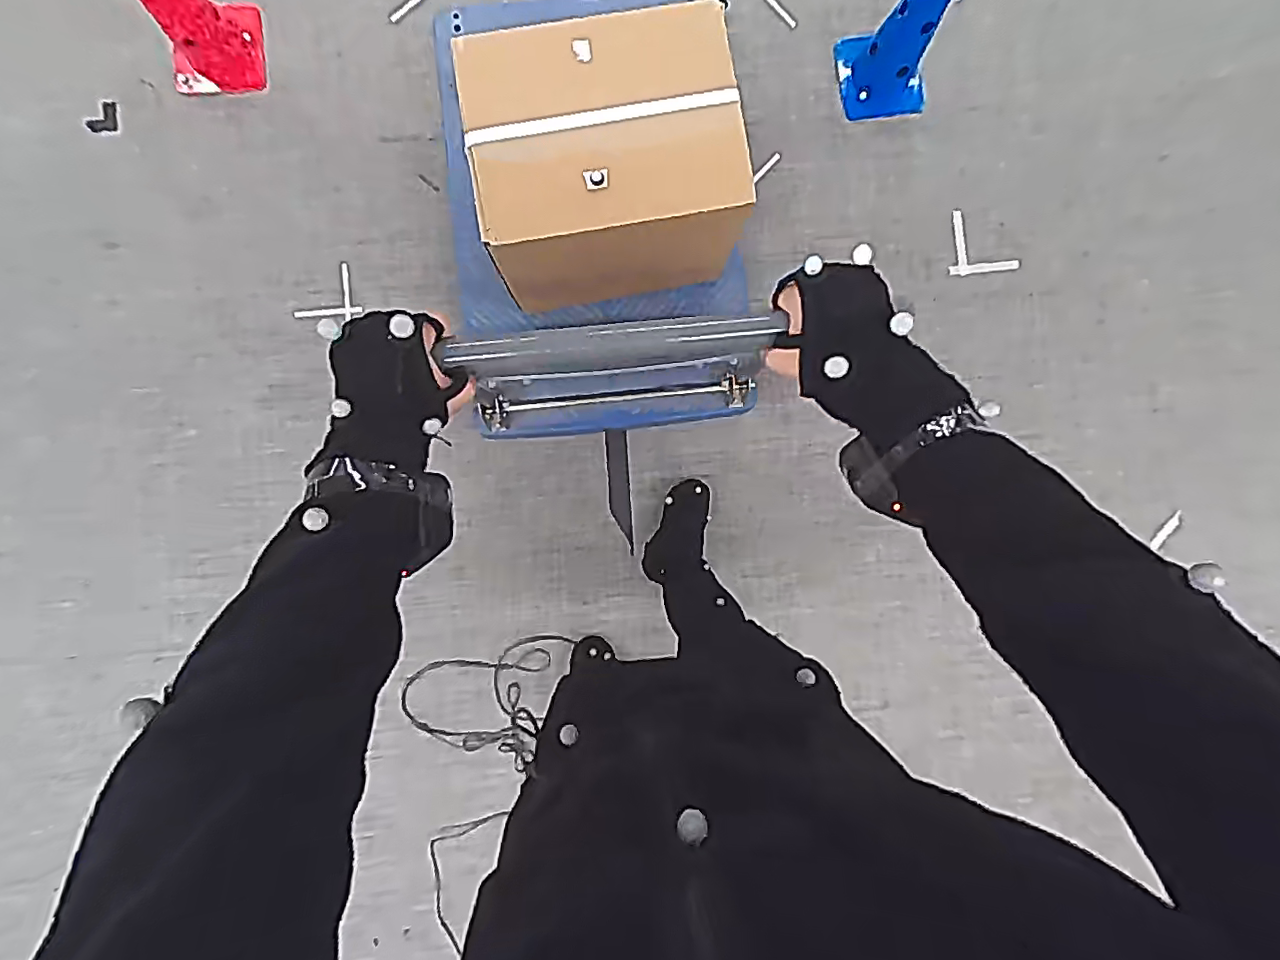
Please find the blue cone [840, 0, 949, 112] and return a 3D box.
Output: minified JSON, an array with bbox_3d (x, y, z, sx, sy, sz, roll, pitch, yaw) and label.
[{"bbox_3d":[0.590,-0.983,1.132,0.193,0.380,0.192,-8,89,-3],"label":"blue cone"}]
